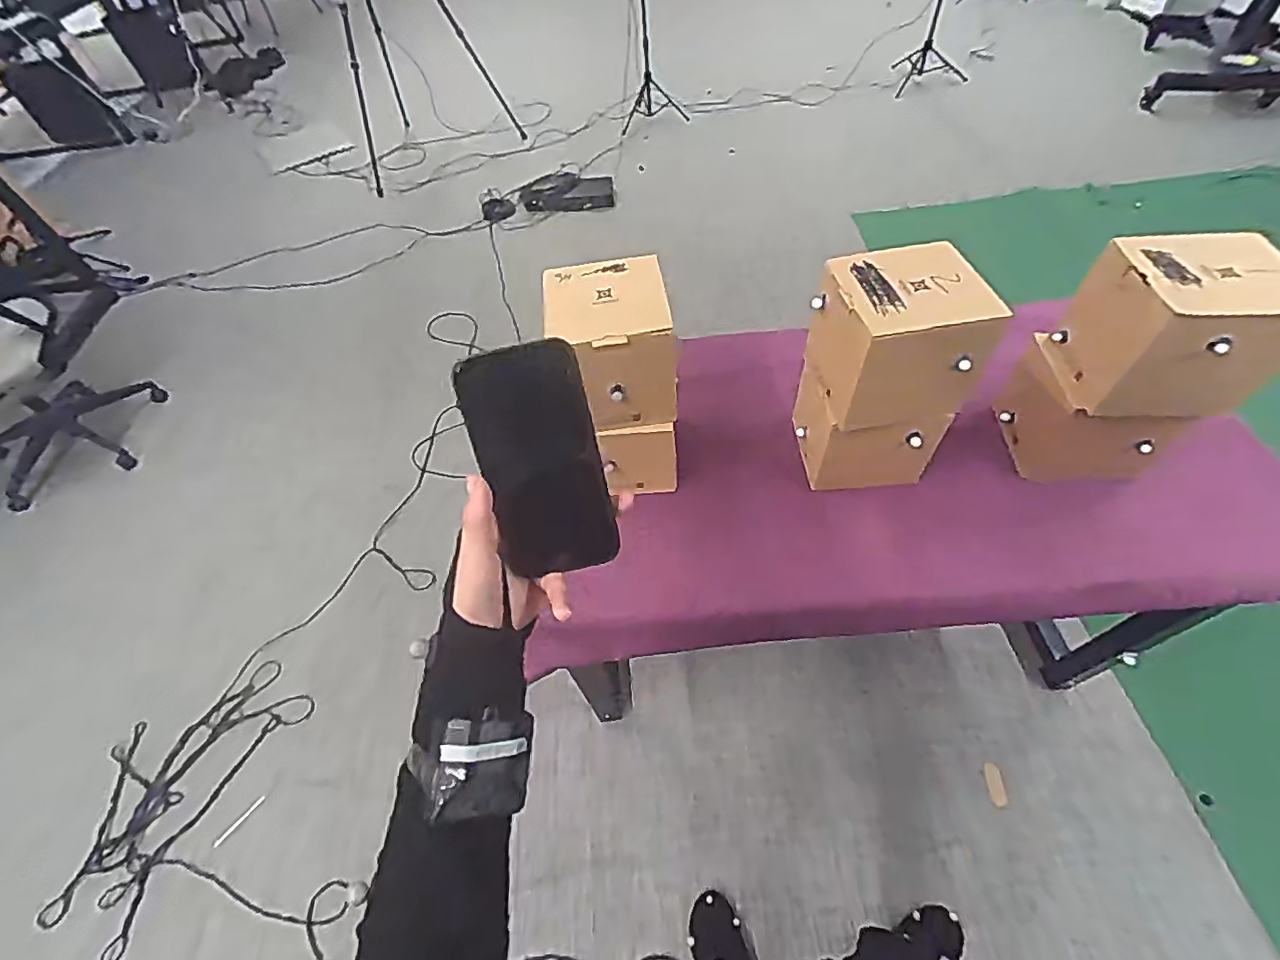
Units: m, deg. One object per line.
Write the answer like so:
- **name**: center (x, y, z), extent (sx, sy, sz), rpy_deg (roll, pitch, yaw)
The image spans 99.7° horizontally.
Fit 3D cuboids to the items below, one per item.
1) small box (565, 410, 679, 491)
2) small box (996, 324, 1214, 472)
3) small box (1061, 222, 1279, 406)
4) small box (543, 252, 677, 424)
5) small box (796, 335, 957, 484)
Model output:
- **small box**: center (-0.024, -0.092, 0.910), extent (0.168, 0.176, 0.179), rpy_deg (-4, 53, 4)
- **small box**: center (0.704, -0.125, 0.845), extent (0.179, 0.176, 0.168), rpy_deg (0, 53, 7)
- **small box**: center (0.697, -0.210, 0.704), extent (0.179, 0.176, 0.168), rpy_deg (0, 54, 6)
- **small box**: center (-0.040, -0.196, 0.783), extent (0.168, 0.176, 0.179), rpy_deg (-8, 54, 0)
- **small box**: center (0.365, -0.109, 0.872), extent (0.179, 0.176, 0.168), rpy_deg (-5, 53, 4)
